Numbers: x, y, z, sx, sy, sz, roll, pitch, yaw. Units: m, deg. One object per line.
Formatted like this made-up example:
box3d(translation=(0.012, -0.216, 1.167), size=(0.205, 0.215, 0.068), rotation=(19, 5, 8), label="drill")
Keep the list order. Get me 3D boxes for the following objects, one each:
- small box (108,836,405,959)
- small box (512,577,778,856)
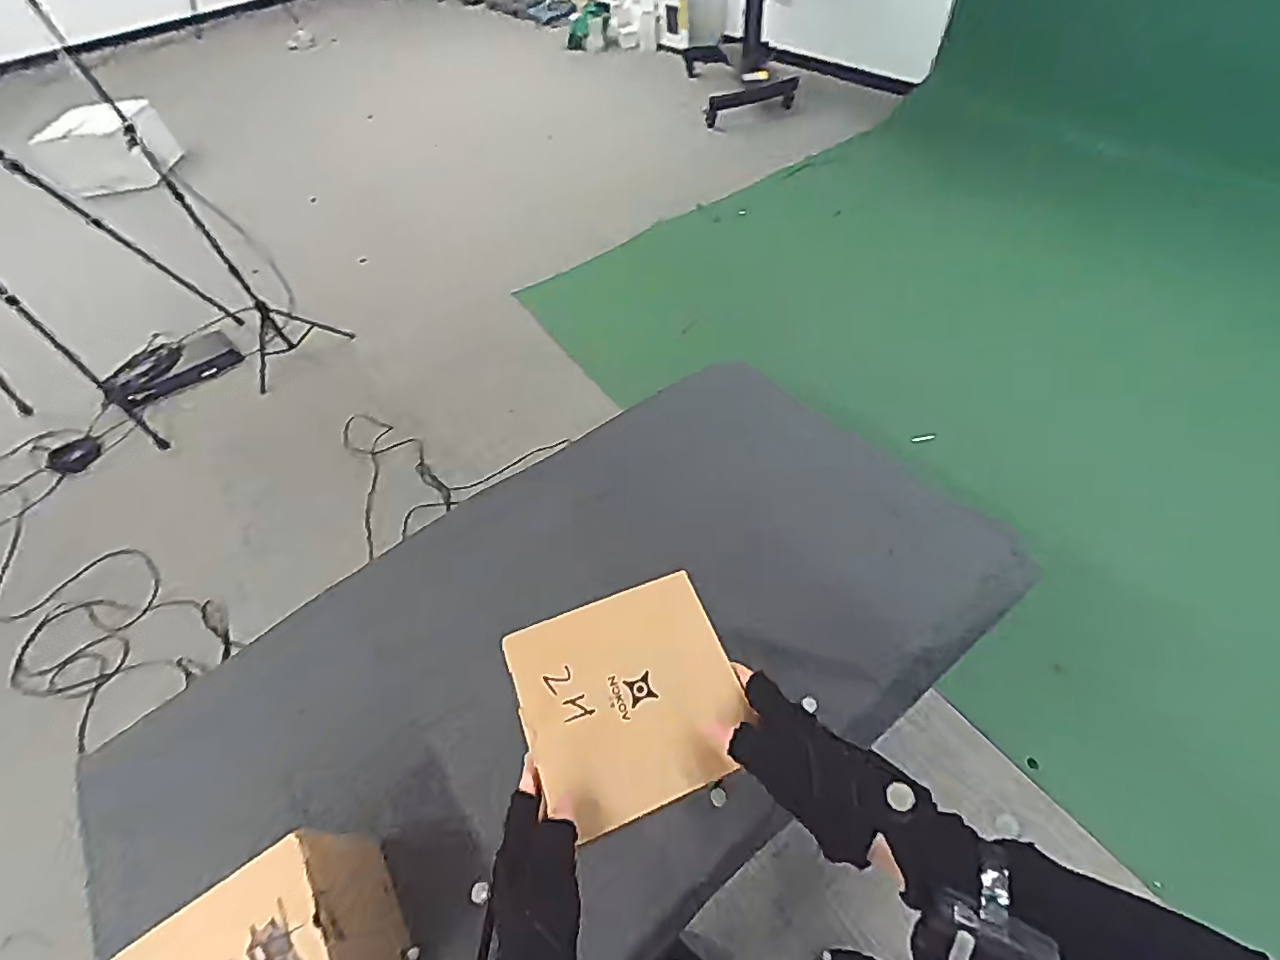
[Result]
box3d(translation=(-0.348, 0.480, 0.518), size=(0.179, 0.176, 0.168), rotation=(-32, 57, -17), label="small box")
box3d(translation=(-0.004, 0.218, 0.502), size=(0.179, 0.176, 0.168), rotation=(-17, 58, -13), label="small box")
